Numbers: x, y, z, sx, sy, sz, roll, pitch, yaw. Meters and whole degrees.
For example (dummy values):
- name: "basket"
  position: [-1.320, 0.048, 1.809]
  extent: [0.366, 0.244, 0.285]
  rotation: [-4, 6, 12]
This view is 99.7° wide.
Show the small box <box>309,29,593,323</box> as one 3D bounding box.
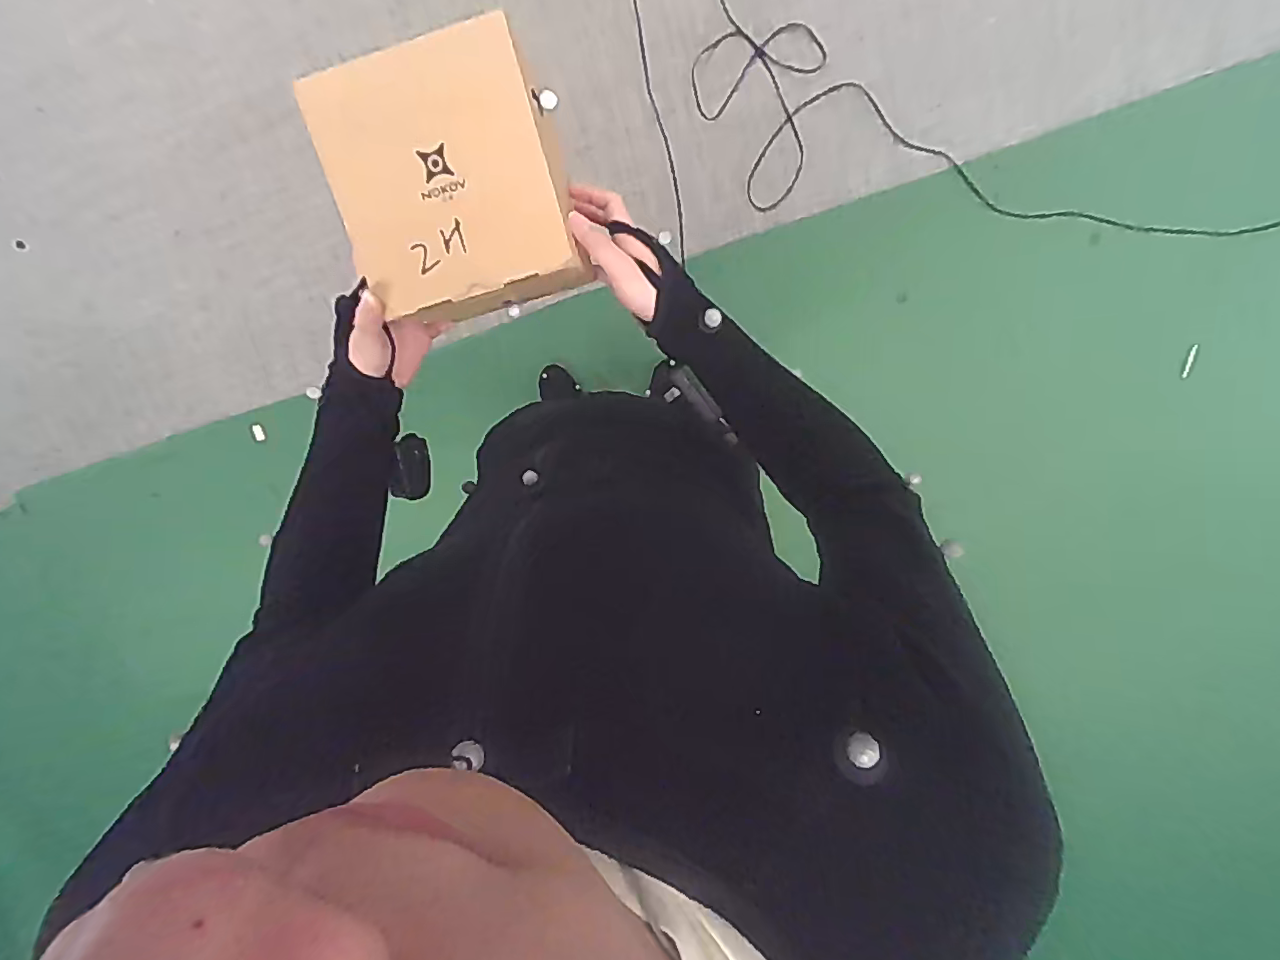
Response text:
- name: "small box"
  position: [-0.148, -0.249, 0.494]
  extent: [0.168, 0.176, 0.179]
  rotation: [-14, 106, 5]
